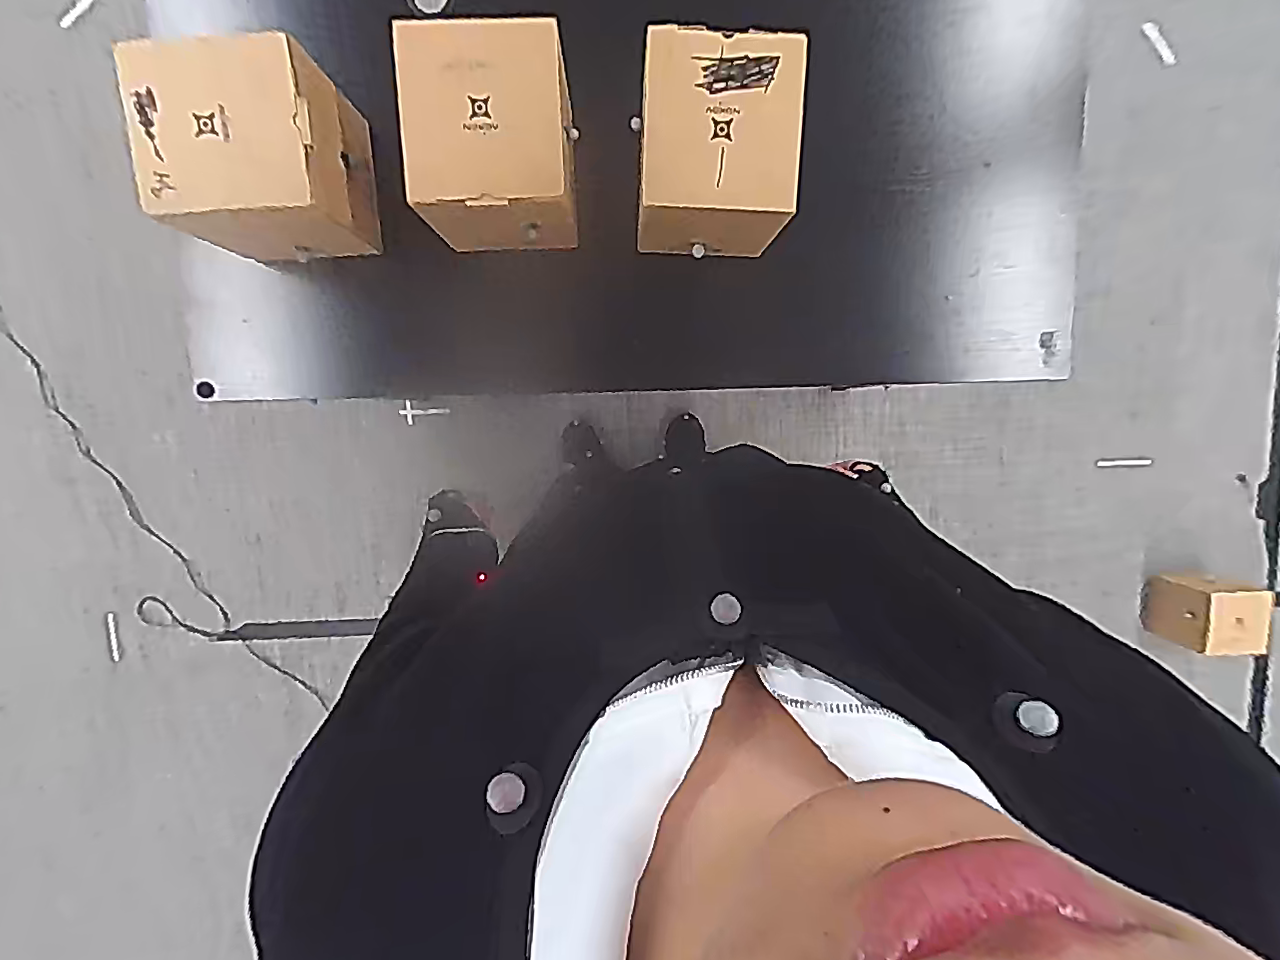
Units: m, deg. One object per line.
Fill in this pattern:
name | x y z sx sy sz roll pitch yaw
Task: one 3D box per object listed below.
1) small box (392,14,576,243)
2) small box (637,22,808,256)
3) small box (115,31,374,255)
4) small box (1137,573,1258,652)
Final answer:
small box | -0.166 -0.388 0.630 0.168 0.176 0.179 -3 96 -2
small box | 0.084 -0.383 0.638 0.168 0.176 0.179 2 97 -2
small box | -0.427 -0.369 0.621 0.179 0.176 0.168 -4 97 -3
small box | 1.551 0.362 1.514 0.168 0.176 0.179 -2 98 -1
